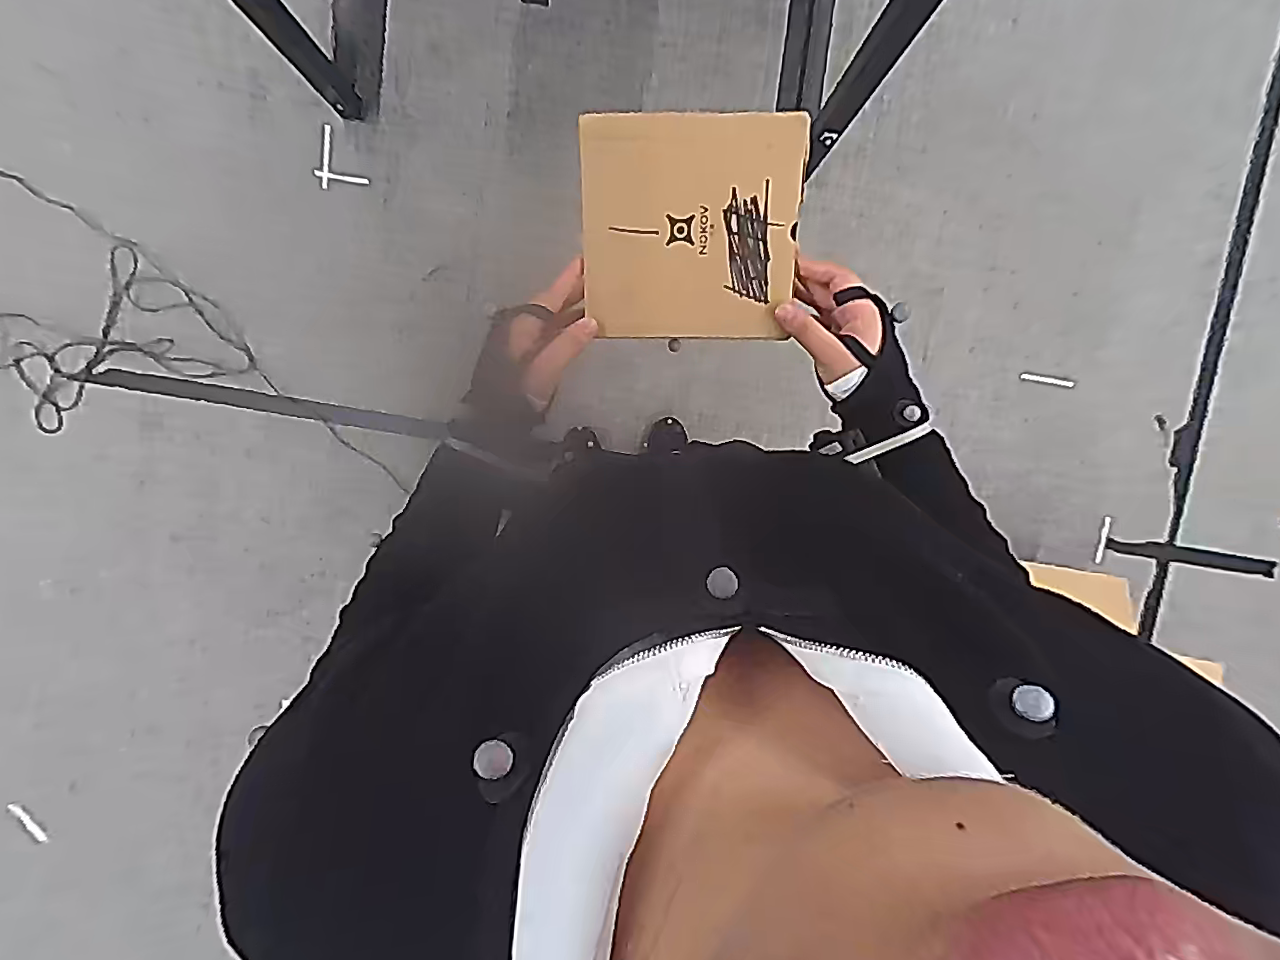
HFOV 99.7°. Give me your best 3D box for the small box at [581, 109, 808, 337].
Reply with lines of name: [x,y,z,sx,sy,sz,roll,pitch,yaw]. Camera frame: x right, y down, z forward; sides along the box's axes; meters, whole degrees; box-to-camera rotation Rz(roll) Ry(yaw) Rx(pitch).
small box: [0.041,-0.226,0.508,0.179,0.176,0.168,1,108,1]
